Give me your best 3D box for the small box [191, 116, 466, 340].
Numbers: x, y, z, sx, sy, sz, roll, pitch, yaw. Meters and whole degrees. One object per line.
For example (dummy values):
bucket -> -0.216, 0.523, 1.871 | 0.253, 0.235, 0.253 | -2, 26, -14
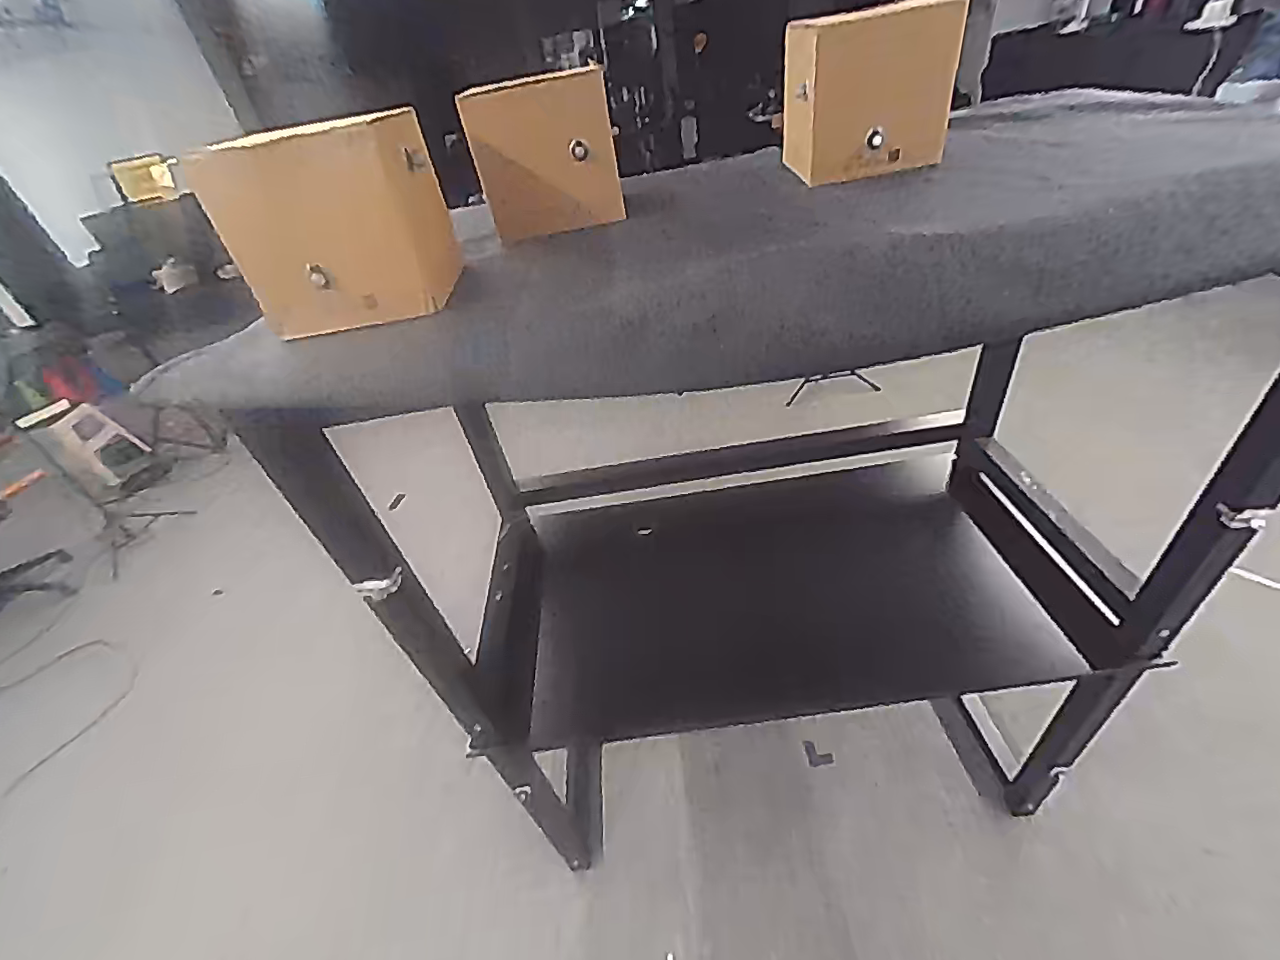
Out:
small box -> -0.295, -0.265, 0.566 | 0.168, 0.176, 0.179 | -10, 38, 0

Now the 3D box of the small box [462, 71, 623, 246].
small box -> -0.120, -0.438, 0.737 | 0.179, 0.176, 0.168 | -10, 39, 0
